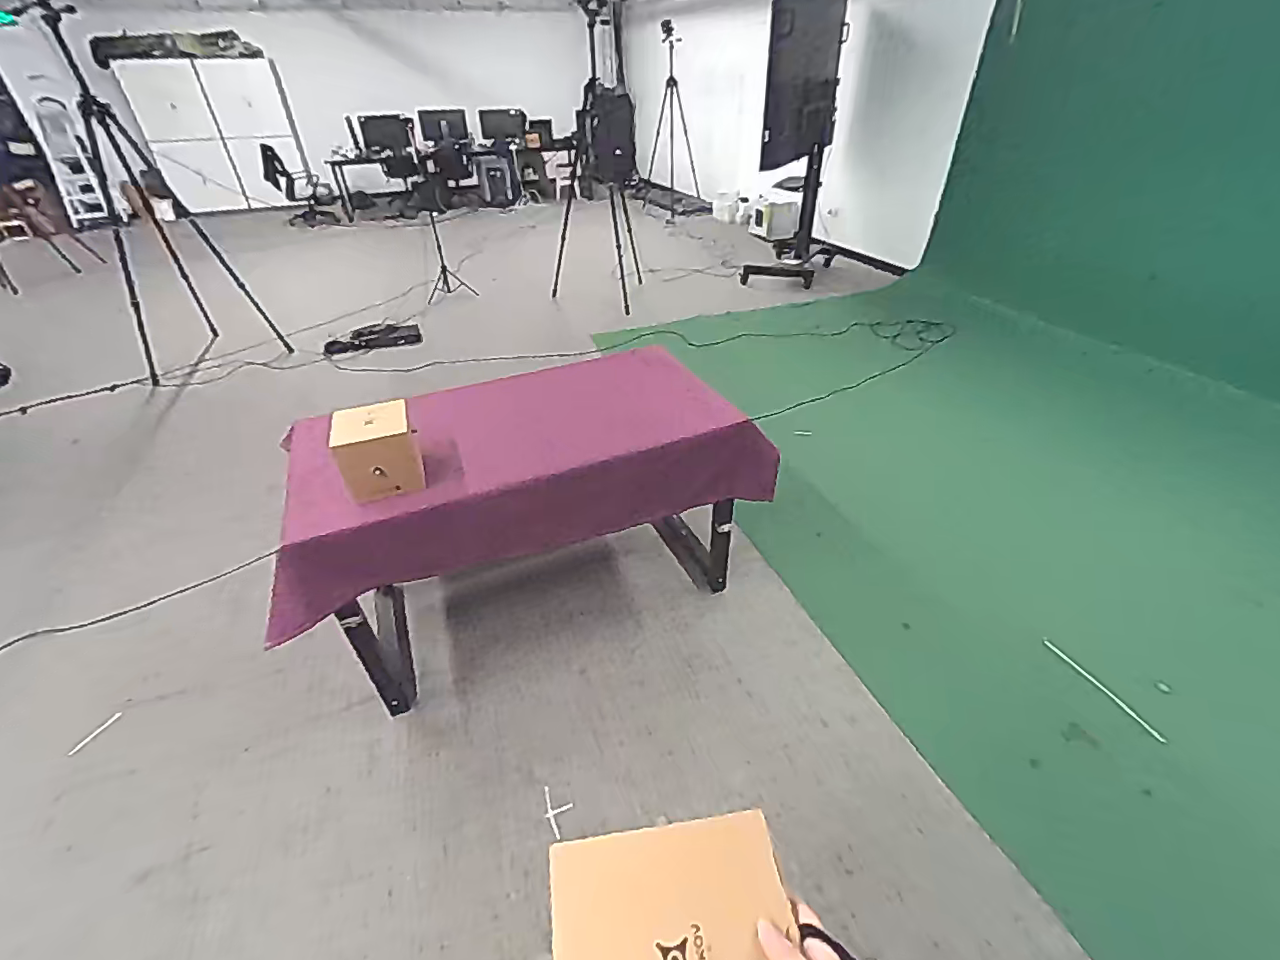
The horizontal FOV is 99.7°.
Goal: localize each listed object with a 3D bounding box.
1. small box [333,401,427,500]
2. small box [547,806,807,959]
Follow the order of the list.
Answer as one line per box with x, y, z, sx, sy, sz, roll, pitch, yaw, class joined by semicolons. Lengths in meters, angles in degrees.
-0.628;-0.068;1.321;0.168;0.176;0.179;-14;38;-16;small box
0.023;0.385;0.422;0.179;0.176;0.168;-4;42;-9;small box
